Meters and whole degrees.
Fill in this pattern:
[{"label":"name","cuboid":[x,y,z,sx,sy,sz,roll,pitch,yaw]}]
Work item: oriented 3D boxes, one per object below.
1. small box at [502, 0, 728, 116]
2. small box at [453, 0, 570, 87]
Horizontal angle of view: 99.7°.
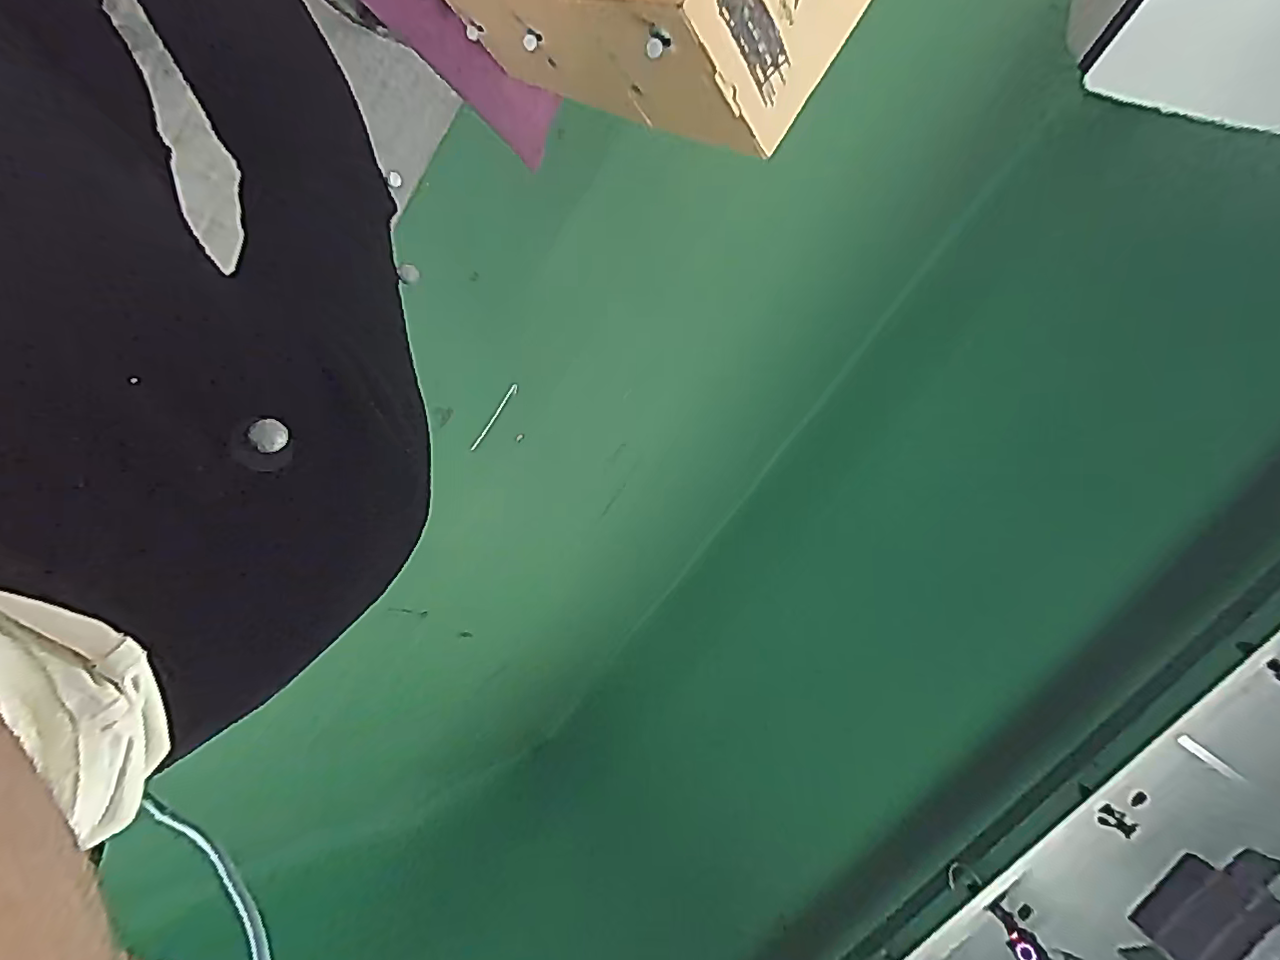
[{"label":"small box","cuboid":[-0.031,-0.535,0.562,0.179,0.176,0.168,-52,147,10]},{"label":"small box","cuboid":[-0.136,-0.629,0.646,0.168,0.176,0.179,-53,149,9]}]
